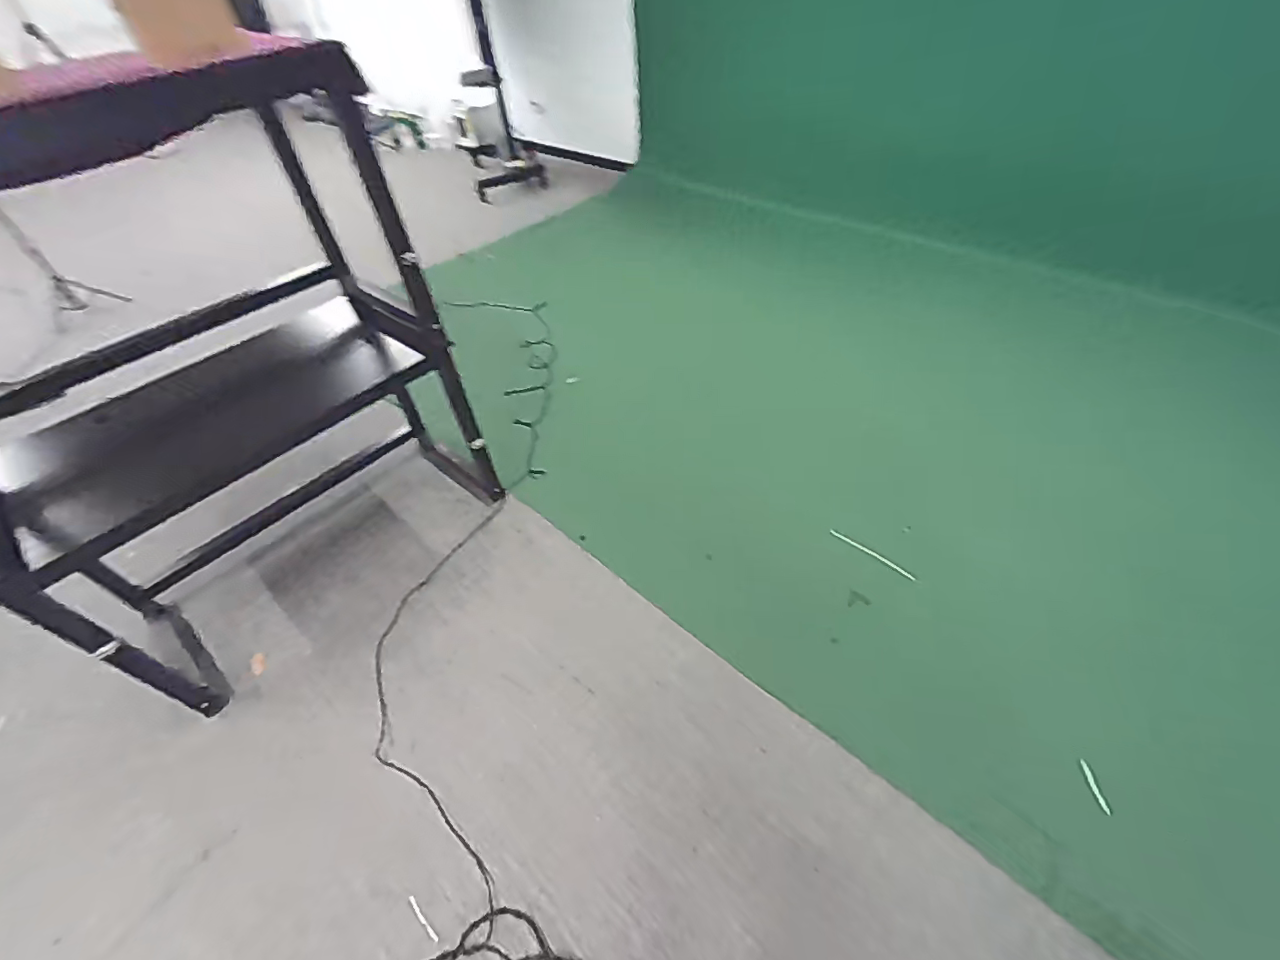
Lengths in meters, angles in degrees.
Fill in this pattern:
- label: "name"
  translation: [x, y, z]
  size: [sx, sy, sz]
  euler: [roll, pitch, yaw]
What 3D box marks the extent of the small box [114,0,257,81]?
- label: "small box"
  translation: [-0.917, -0.916, 1.080]
  size: [0.168, 0.176, 0.179]
  euler: [-38, 54, -26]
